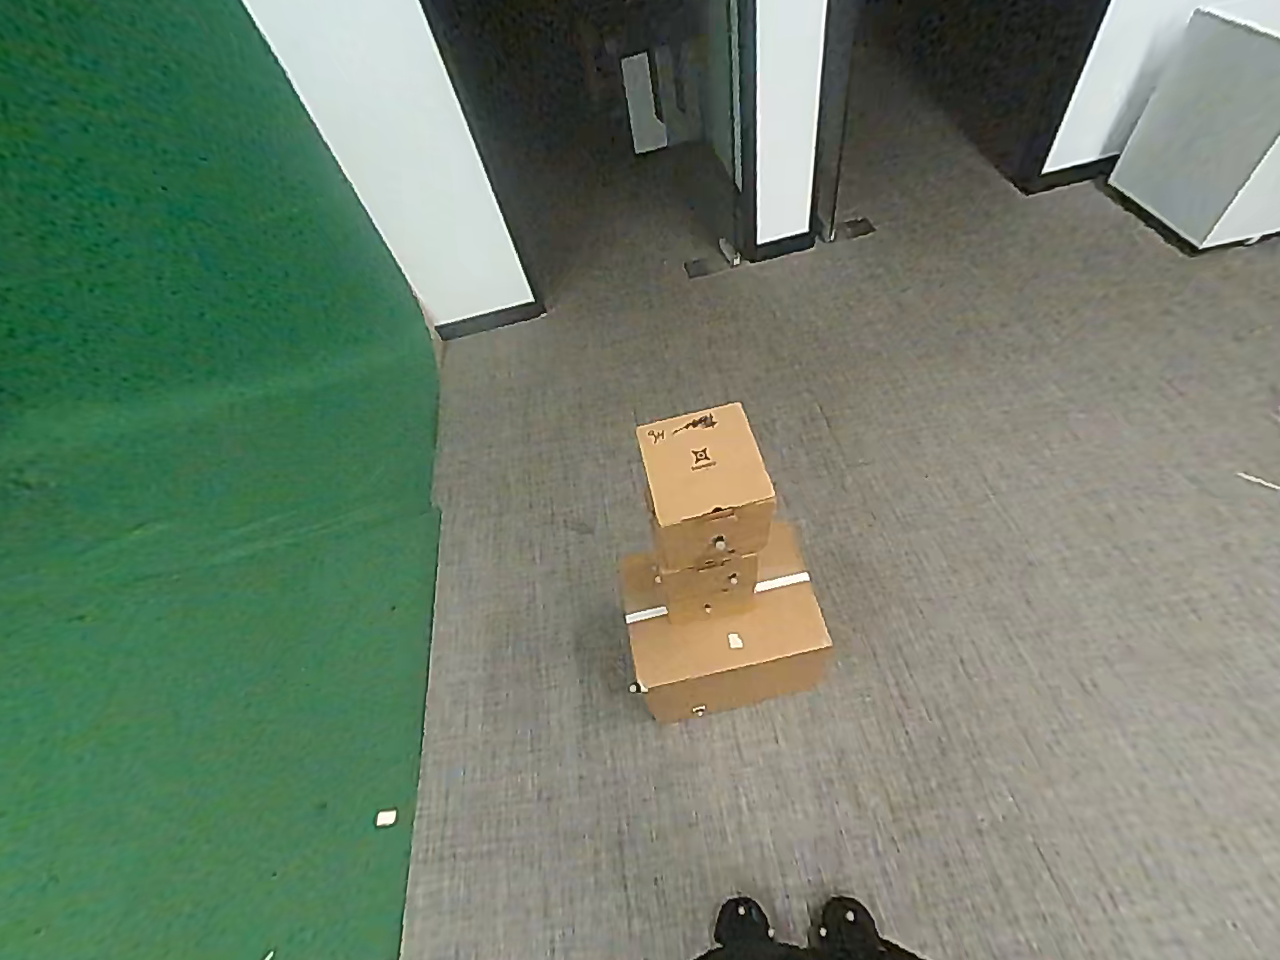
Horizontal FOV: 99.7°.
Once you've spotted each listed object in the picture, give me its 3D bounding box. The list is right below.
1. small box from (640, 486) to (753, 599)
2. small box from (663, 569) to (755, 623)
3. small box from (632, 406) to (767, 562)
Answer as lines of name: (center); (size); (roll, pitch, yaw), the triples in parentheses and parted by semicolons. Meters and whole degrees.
small box: (0.105, 0.106, 0.988); (0.168, 0.176, 0.179); (-13, 58, 1)
small box: (0.130, 0.184, 1.128); (0.179, 0.176, 0.168); (-13, 59, 2)
small box: (0.094, 0.017, 0.851); (0.168, 0.176, 0.179); (-14, 60, 1)
